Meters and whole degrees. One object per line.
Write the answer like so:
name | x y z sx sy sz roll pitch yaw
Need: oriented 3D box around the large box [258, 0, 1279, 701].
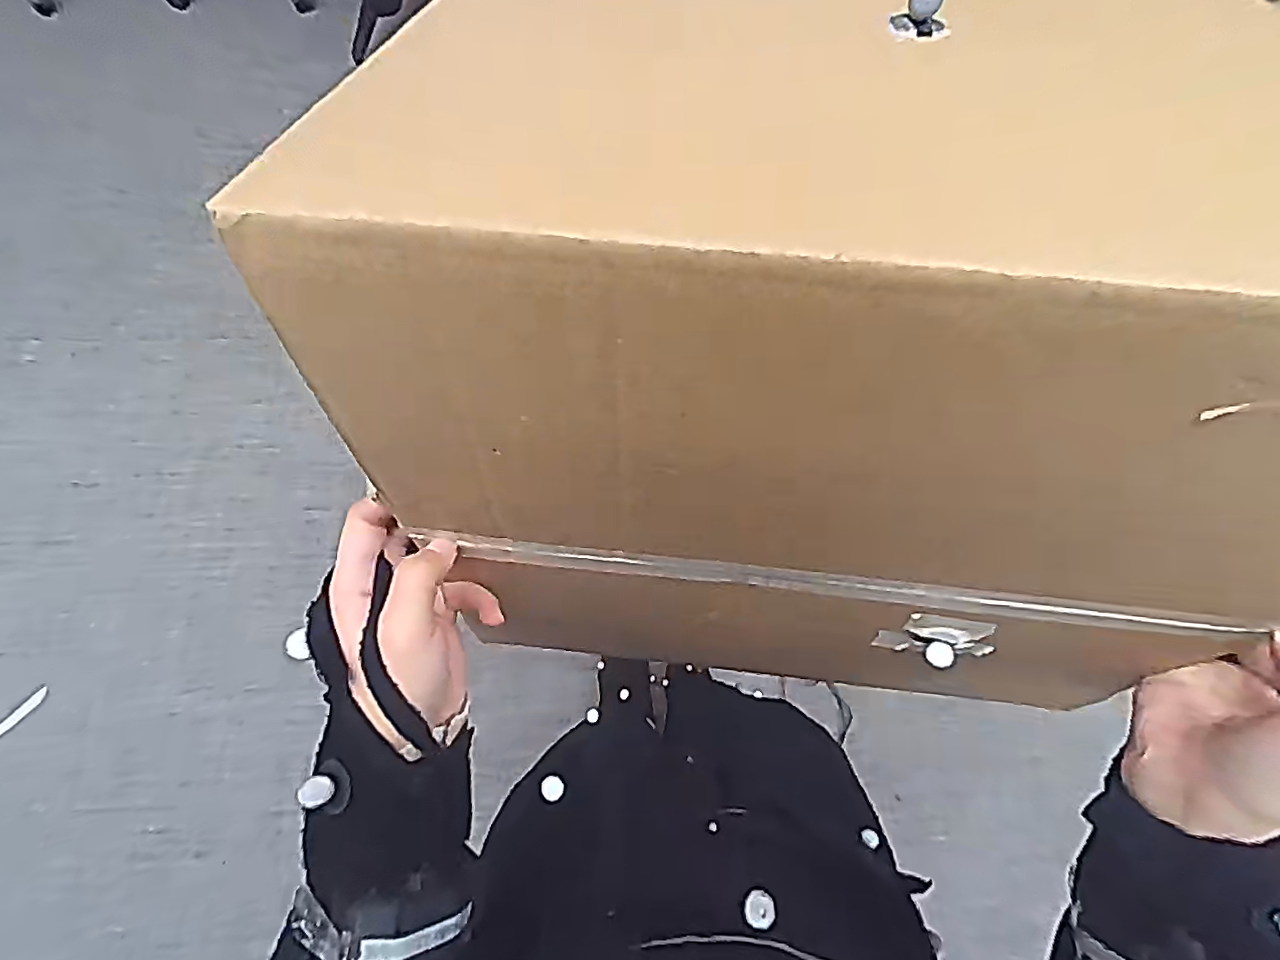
large box | 0.099 -0.074 0.346 0.408 0.320 0.320 5 55 2
